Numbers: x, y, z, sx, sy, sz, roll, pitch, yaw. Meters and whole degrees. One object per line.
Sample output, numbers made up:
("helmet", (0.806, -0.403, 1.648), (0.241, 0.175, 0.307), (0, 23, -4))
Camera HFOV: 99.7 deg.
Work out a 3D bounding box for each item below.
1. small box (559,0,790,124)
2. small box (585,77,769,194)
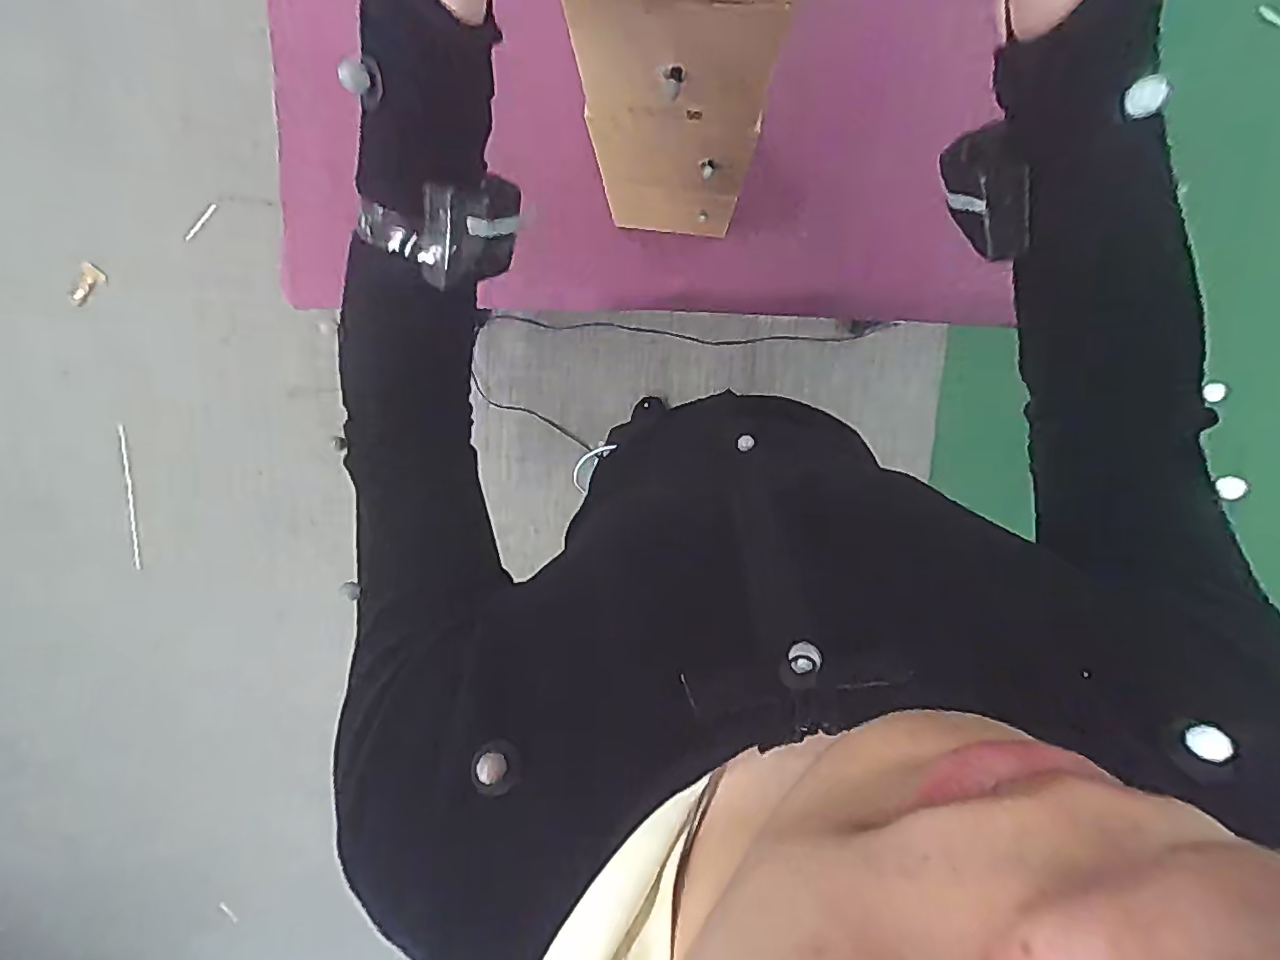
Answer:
("small box", (0.037, -0.423, 0.436), (0.168, 0.176, 0.179), (7, 98, 2))
("small box", (0.045, -0.437, 0.598), (0.179, 0.176, 0.168), (7, 98, 3))
